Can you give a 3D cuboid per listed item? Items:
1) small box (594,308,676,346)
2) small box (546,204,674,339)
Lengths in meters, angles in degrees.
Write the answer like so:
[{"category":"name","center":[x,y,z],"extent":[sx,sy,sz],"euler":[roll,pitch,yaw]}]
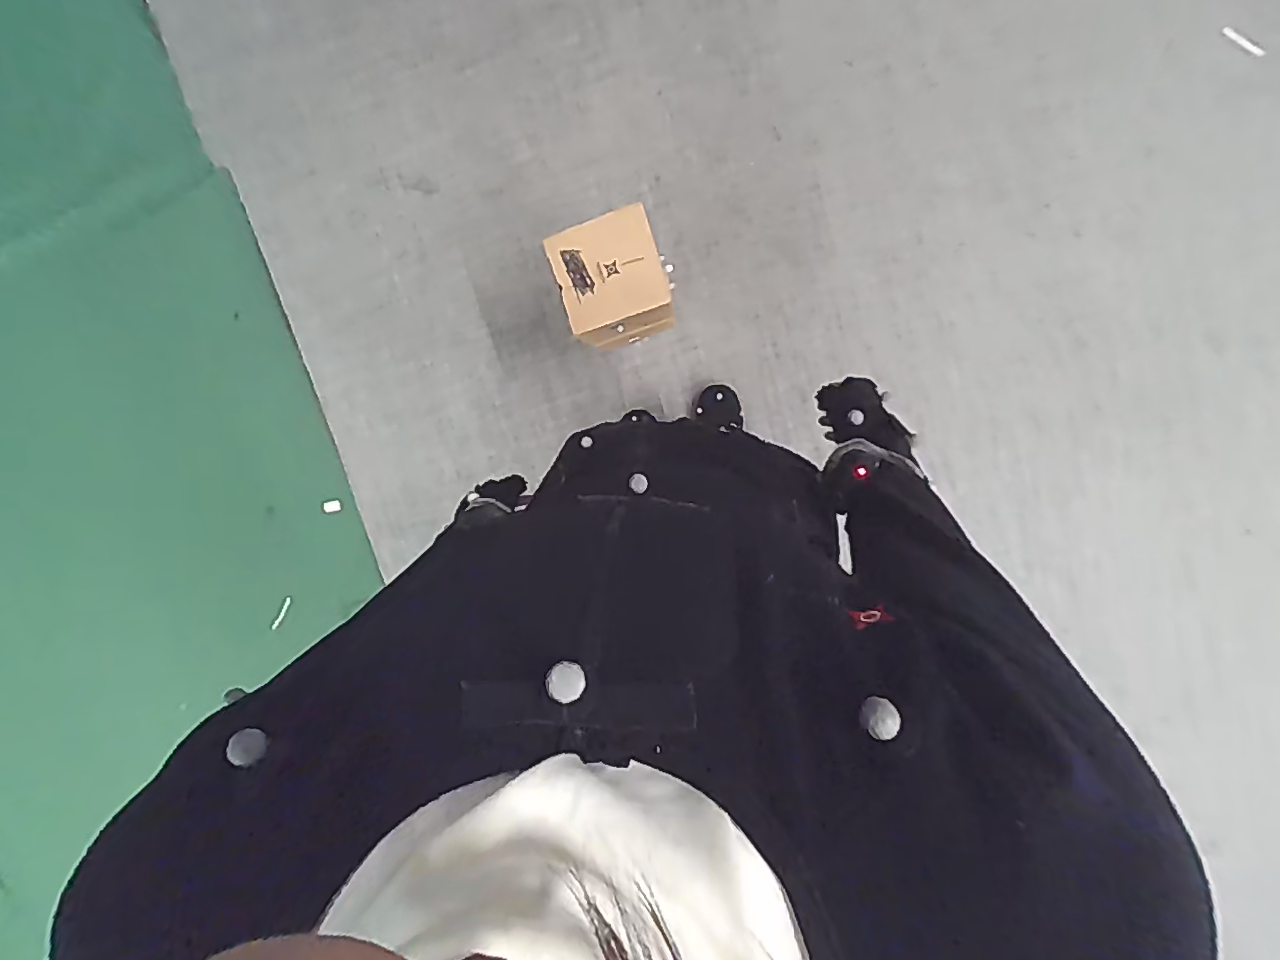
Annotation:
[{"category":"small box","center":[-0.029,-0.390,1.122],"extent":[0.168,0.176,0.179],"euler":[-17,99,10]},{"category":"small box","center":[-0.045,-0.363,0.978],"extent":[0.179,0.176,0.168],"euler":[-16,98,9]}]
